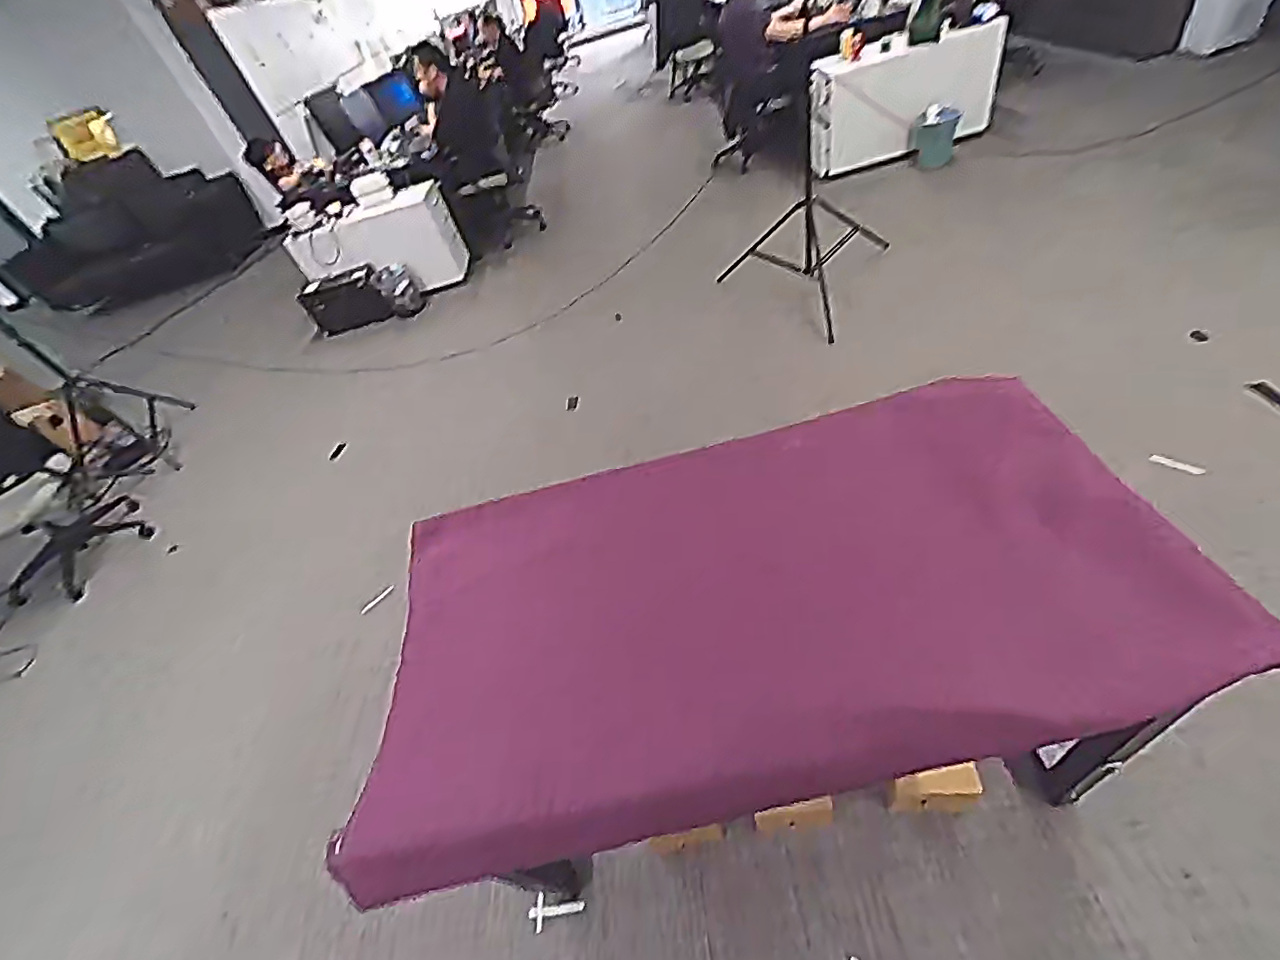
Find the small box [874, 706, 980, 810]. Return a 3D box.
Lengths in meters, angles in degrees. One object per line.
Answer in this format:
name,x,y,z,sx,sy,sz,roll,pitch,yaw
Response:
small box,0.637,0.633,1.223,0.168,0.176,0.179,-8,45,12

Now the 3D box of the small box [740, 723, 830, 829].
small box,0.338,0.696,1.261,0.168,0.176,0.179,-12,45,7
